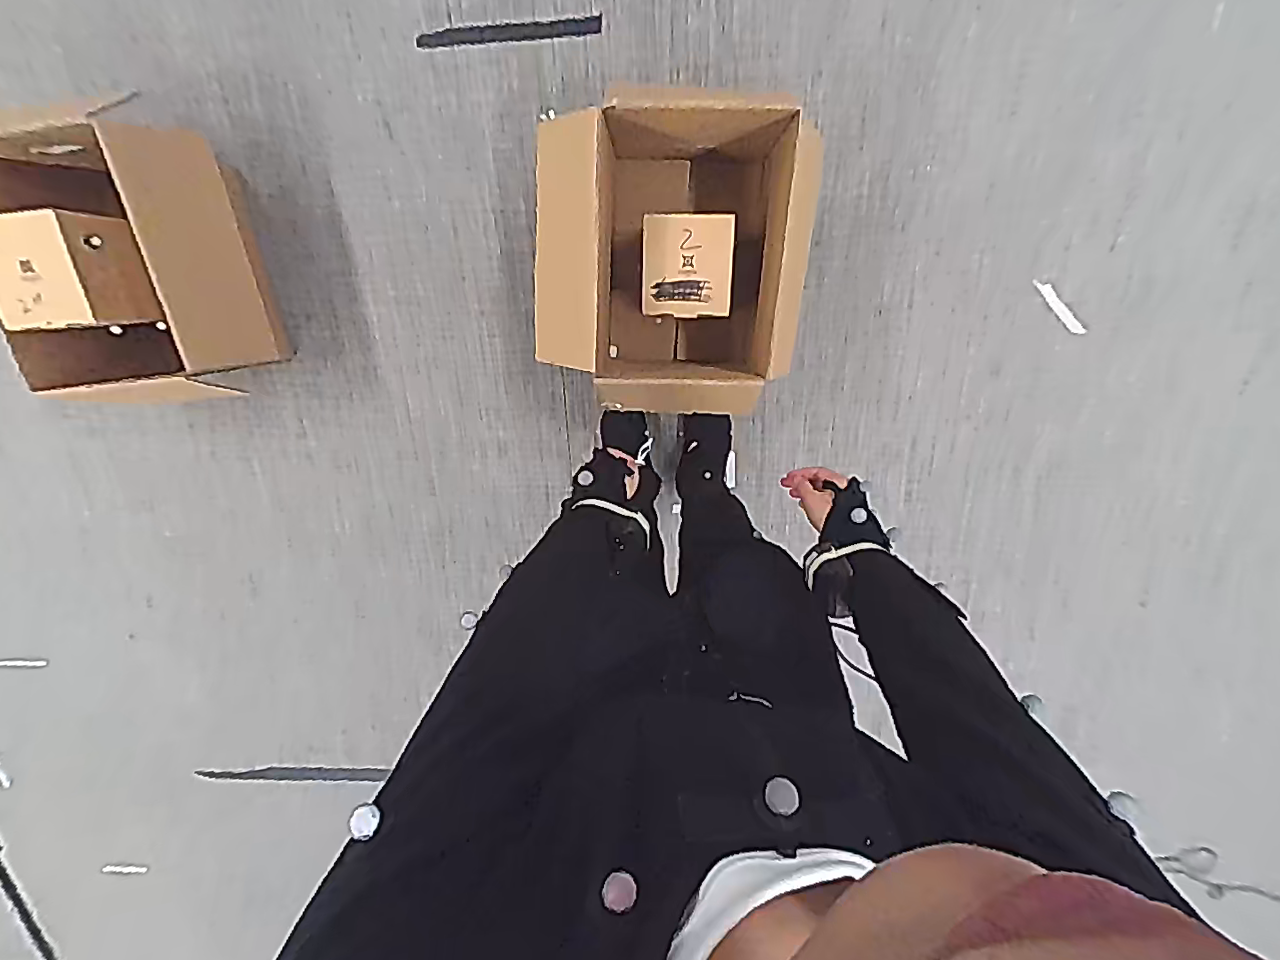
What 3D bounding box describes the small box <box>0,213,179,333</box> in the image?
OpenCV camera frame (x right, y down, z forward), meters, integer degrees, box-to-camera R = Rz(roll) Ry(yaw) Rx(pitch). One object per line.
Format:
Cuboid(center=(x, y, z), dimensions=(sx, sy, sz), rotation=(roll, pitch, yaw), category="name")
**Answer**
Cuboid(center=(-0.985, -0.359, 0.958), dimensions=(0.168, 0.176, 0.179), rotation=(-4, 108, 4), category="small box")
